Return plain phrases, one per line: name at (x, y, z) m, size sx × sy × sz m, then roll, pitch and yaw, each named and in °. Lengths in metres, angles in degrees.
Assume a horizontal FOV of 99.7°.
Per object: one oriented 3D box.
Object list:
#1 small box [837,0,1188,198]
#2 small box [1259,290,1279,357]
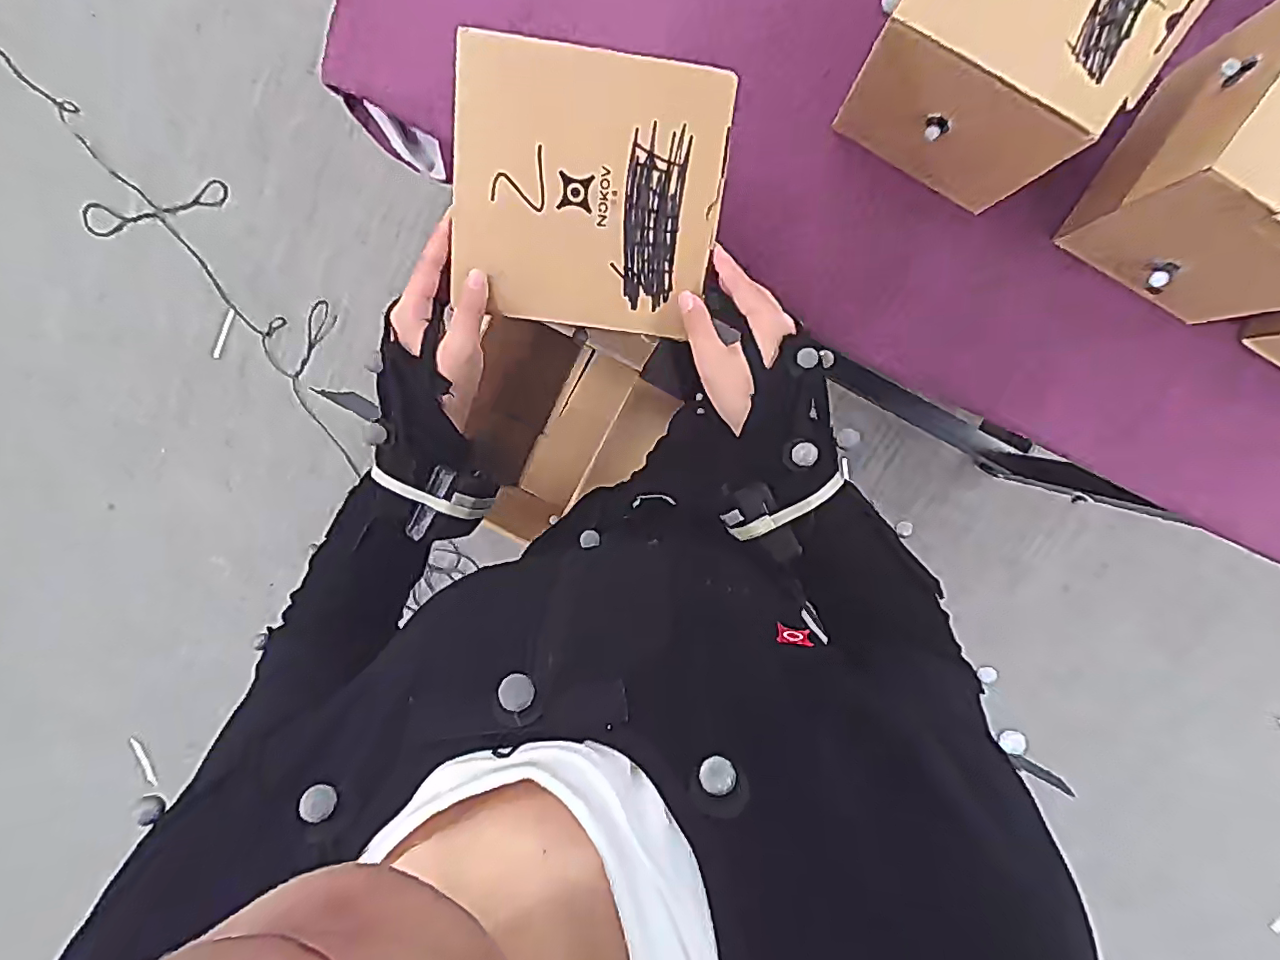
small box at (0.299, -0.369, 0.451) m, size 0.179 × 0.176 × 0.168 m, roll 31°, pitch 100°, yaw 1°
small box at (0.704, -0.163, 0.443) m, size 0.168 × 0.176 × 0.179 m, roll 31°, pitch 99°, yaw 0°
